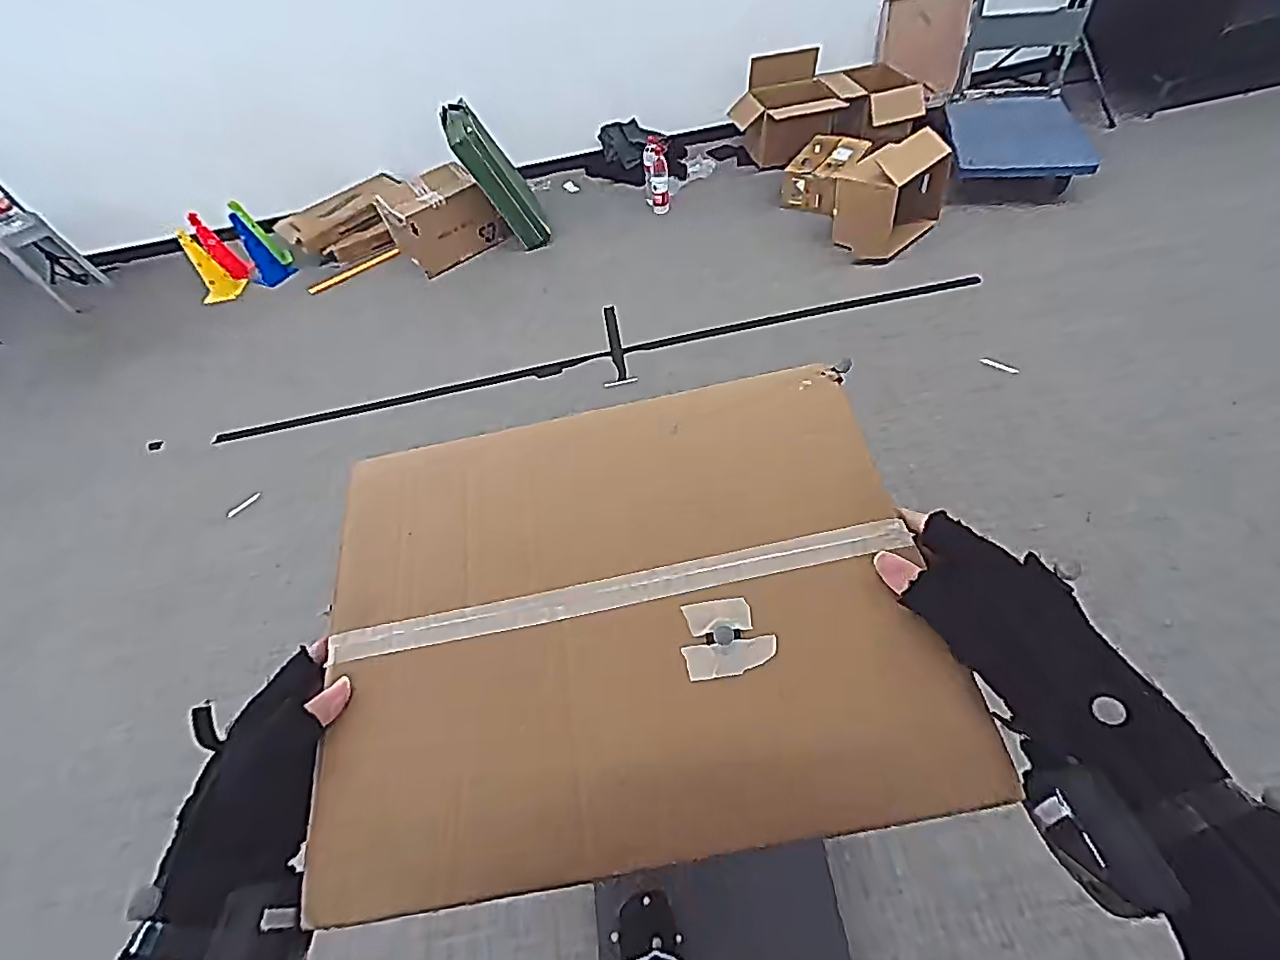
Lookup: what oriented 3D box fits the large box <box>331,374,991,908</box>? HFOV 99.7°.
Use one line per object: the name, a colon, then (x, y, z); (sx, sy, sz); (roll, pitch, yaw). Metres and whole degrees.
large box: (0.002, 0.152, 0.515); (0.408, 0.320, 0.320); (-11, 61, 1)
